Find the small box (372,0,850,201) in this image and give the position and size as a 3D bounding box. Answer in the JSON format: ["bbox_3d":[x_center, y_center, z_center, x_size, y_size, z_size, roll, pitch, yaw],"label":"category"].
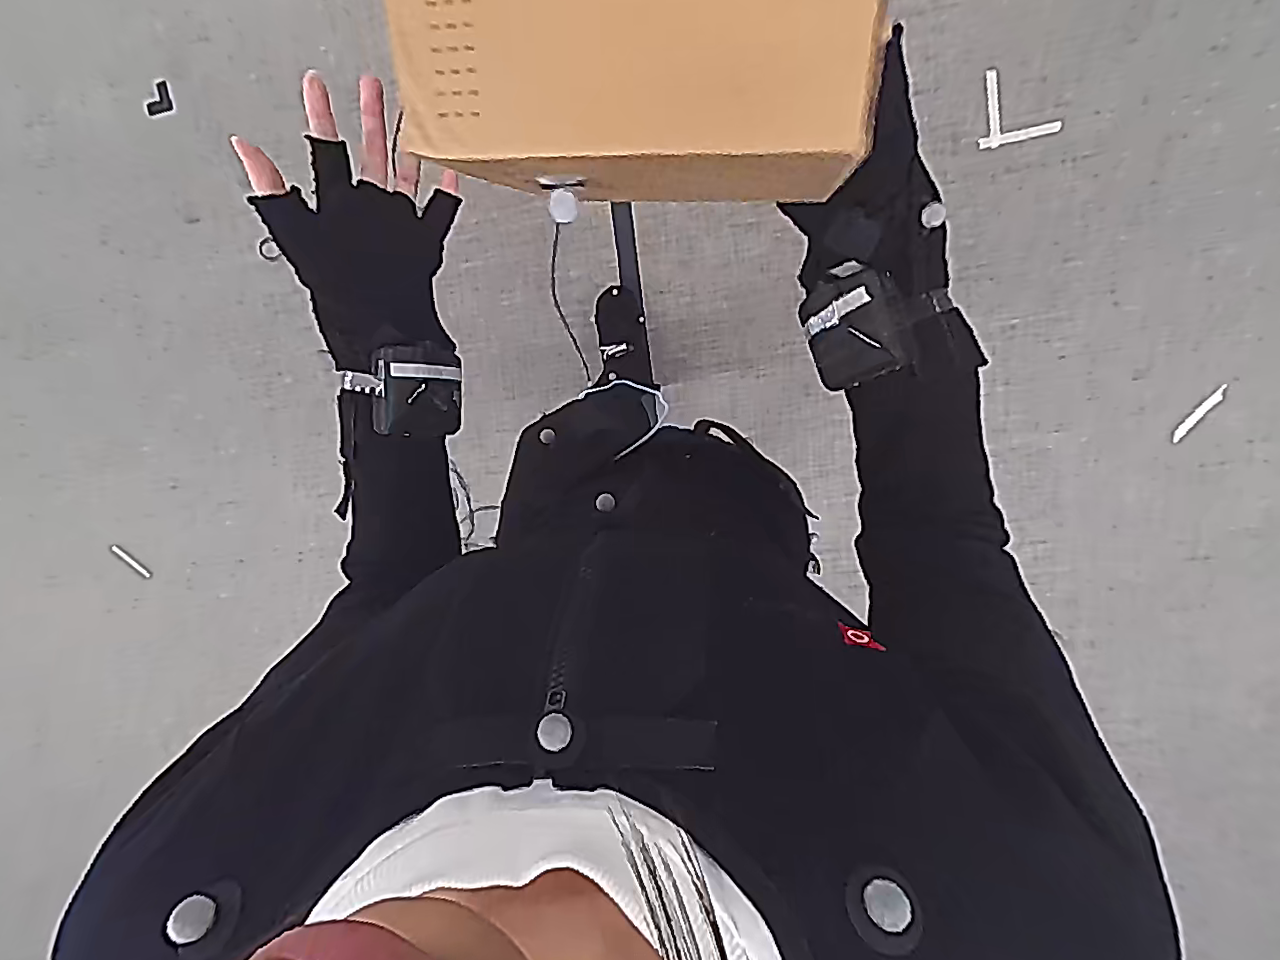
[{"bbox_3d":[0.000,-0.229,0.236,0.176,0.168,0.179,6,113,13],"label":"small box"}]
